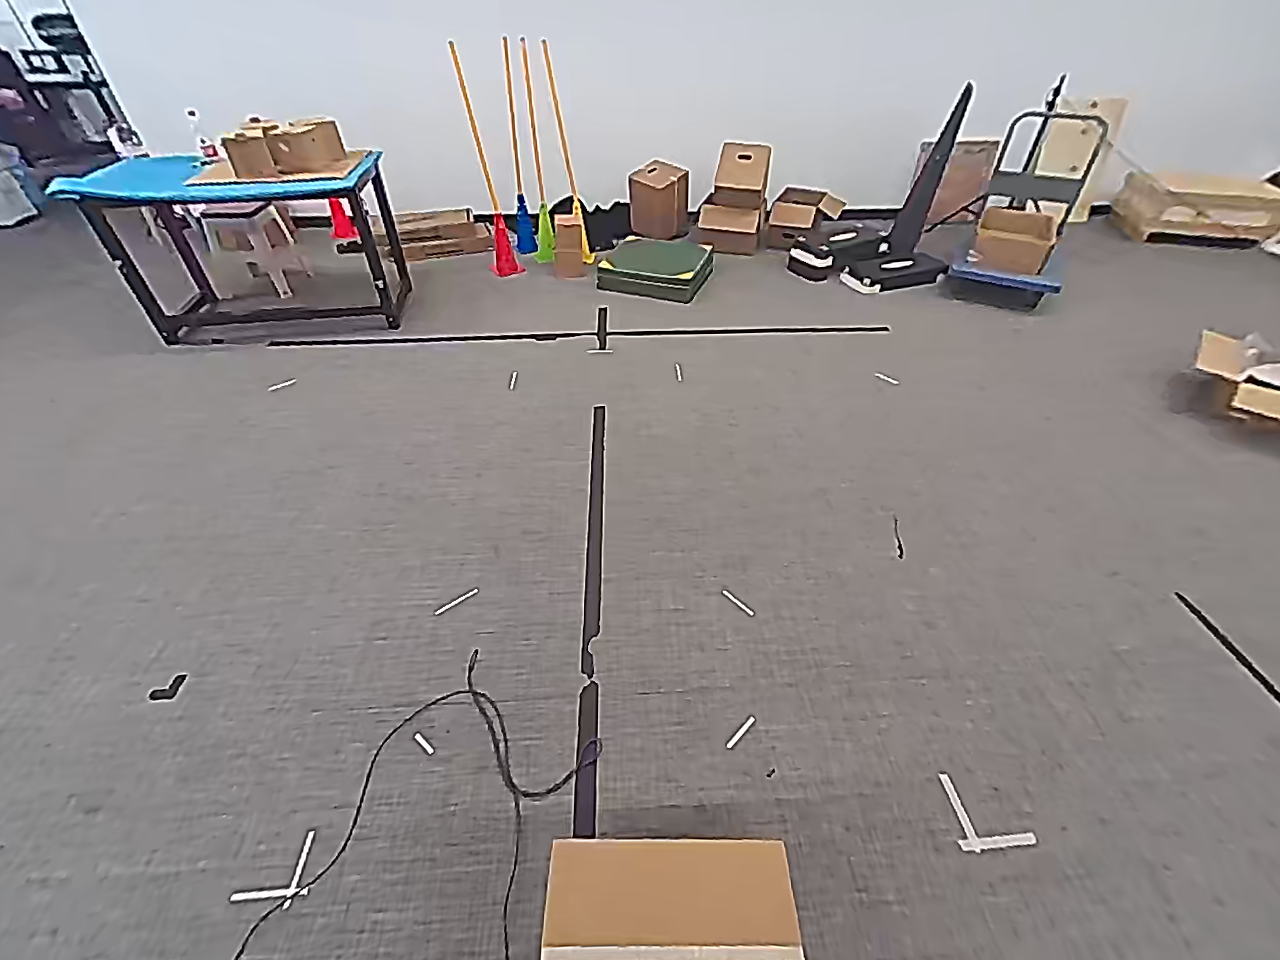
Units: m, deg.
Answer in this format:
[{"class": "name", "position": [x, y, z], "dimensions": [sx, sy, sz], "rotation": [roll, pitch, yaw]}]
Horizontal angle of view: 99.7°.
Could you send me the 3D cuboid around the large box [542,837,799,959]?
[{"class": "large box", "position": [0.043, 0.840, 0.928], "dimensions": [0.408, 0.320, 0.320], "rotation": [1, 42, 0]}]
